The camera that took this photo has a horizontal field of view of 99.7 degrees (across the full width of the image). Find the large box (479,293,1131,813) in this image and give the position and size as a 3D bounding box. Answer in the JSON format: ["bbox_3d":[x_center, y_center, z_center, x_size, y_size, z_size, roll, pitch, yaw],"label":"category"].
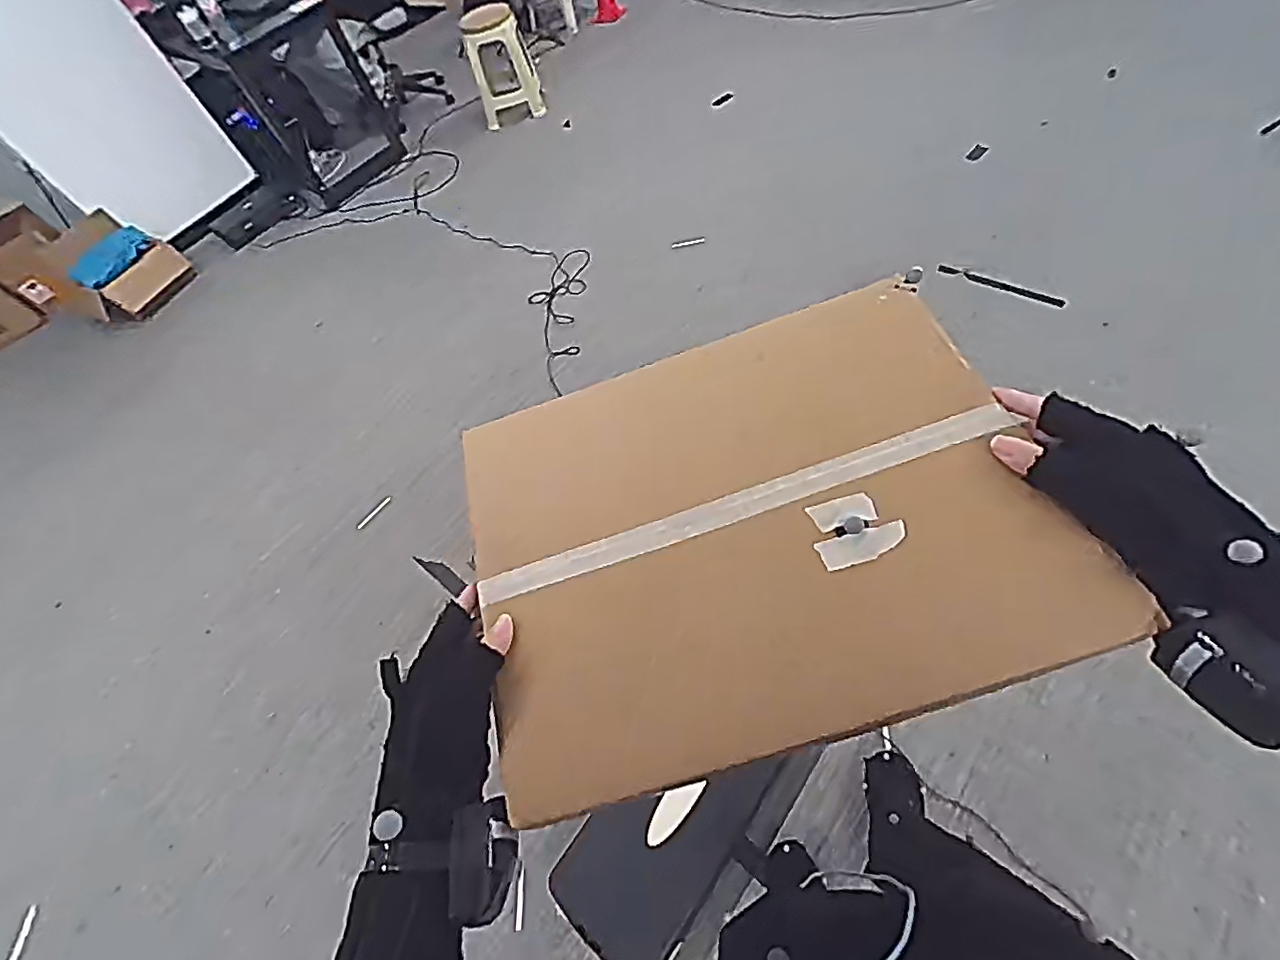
[{"bbox_3d":[0.106,0.093,0.540,0.408,0.320,0.320,-19,61,3],"label":"large box"}]
